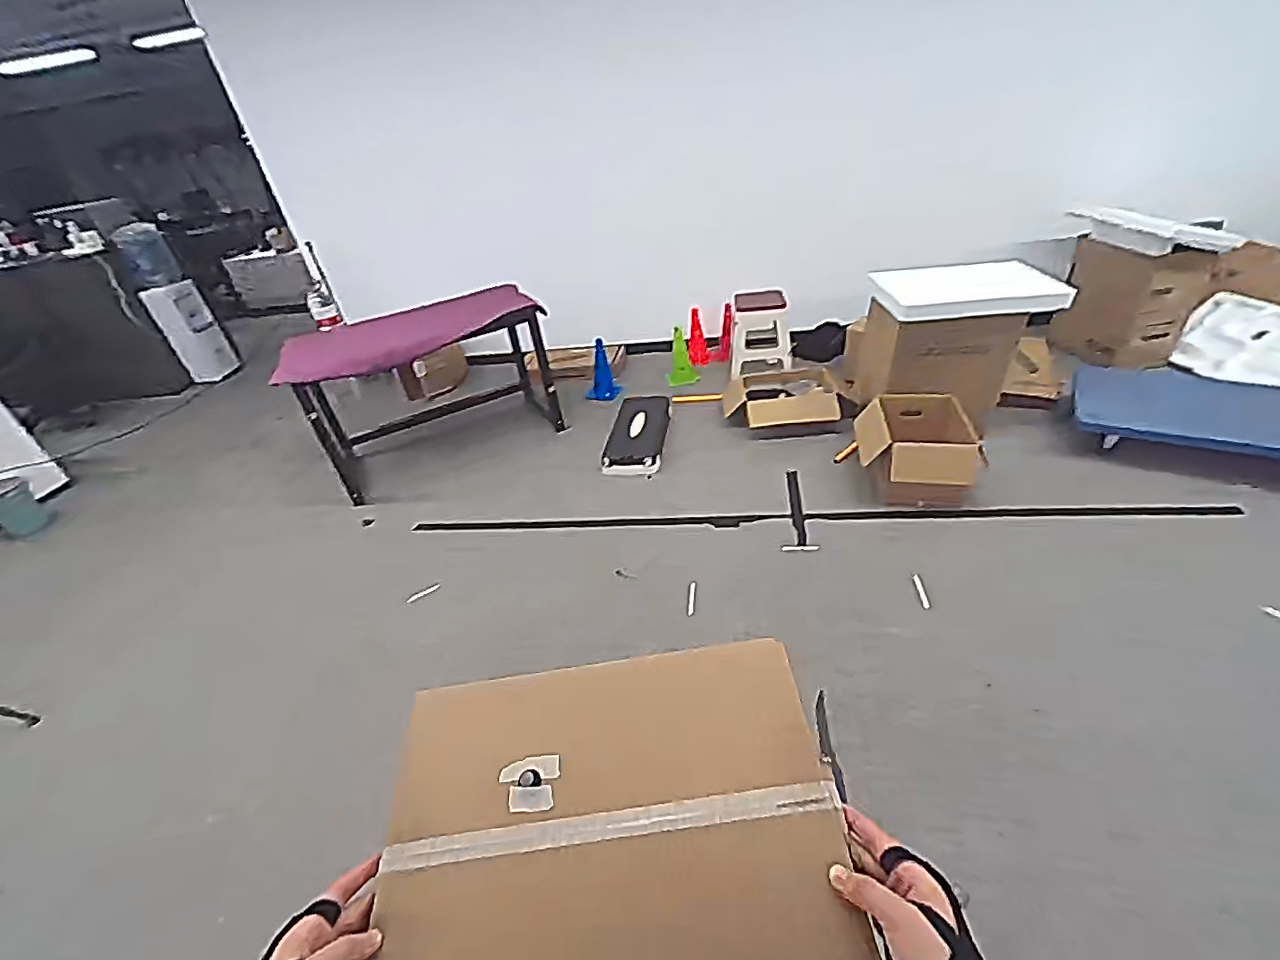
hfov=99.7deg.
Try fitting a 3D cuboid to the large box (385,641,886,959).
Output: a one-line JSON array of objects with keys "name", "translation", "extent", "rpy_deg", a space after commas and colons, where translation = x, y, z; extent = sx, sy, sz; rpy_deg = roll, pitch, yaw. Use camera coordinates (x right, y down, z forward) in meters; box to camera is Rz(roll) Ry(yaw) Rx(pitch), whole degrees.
[{"name": "large box", "translation": [0.002, 0.420, 0.593], "extent": [0.408, 0.320, 0.320], "rpy_deg": [-10, 43, 3]}]
